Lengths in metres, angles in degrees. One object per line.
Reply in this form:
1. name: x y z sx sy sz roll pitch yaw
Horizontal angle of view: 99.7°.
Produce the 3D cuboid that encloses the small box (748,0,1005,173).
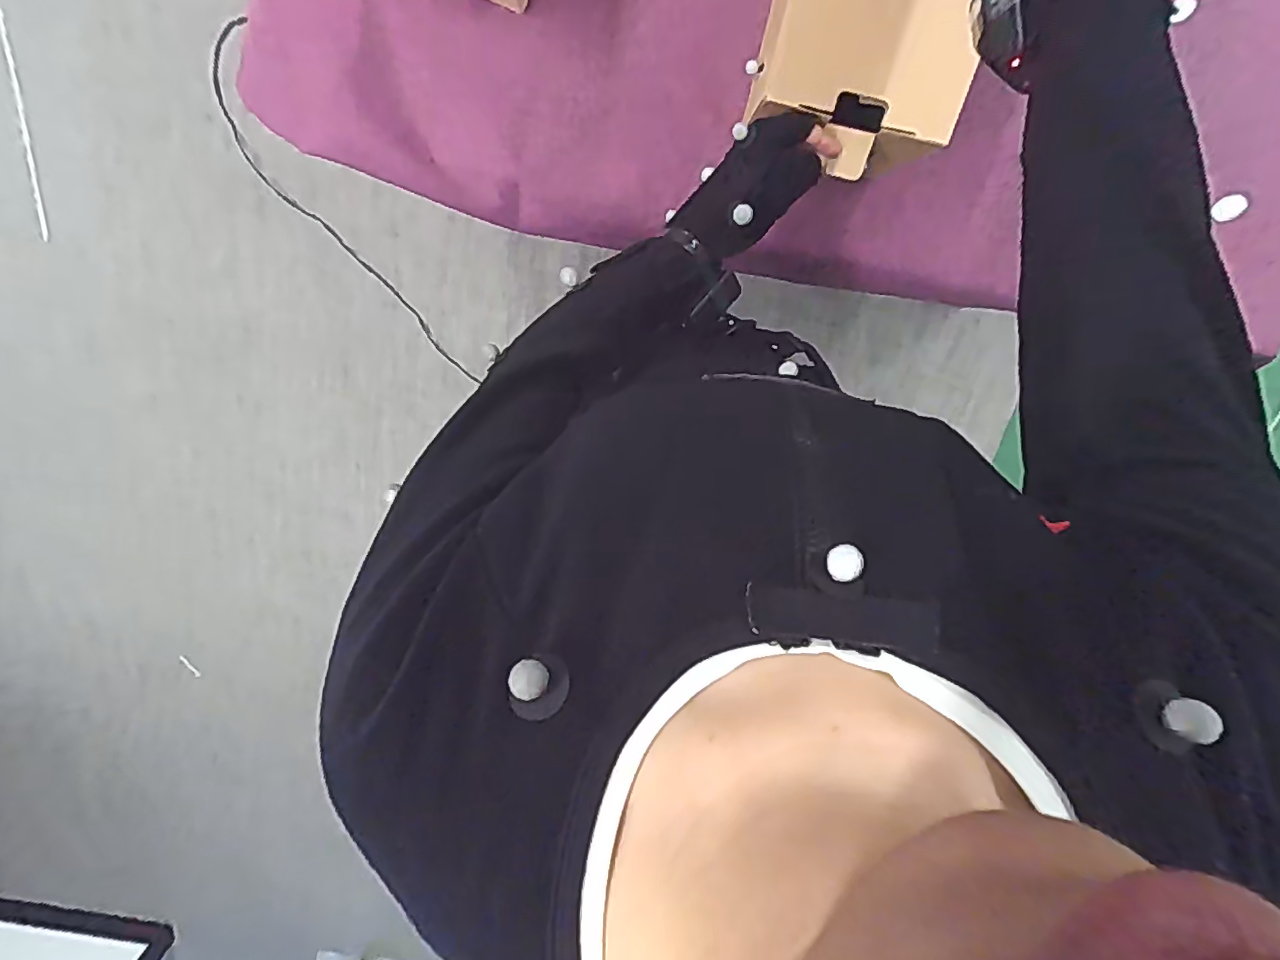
1. small box: 0.205 -0.405 0.496 0.168 0.176 0.179 13 110 -2
